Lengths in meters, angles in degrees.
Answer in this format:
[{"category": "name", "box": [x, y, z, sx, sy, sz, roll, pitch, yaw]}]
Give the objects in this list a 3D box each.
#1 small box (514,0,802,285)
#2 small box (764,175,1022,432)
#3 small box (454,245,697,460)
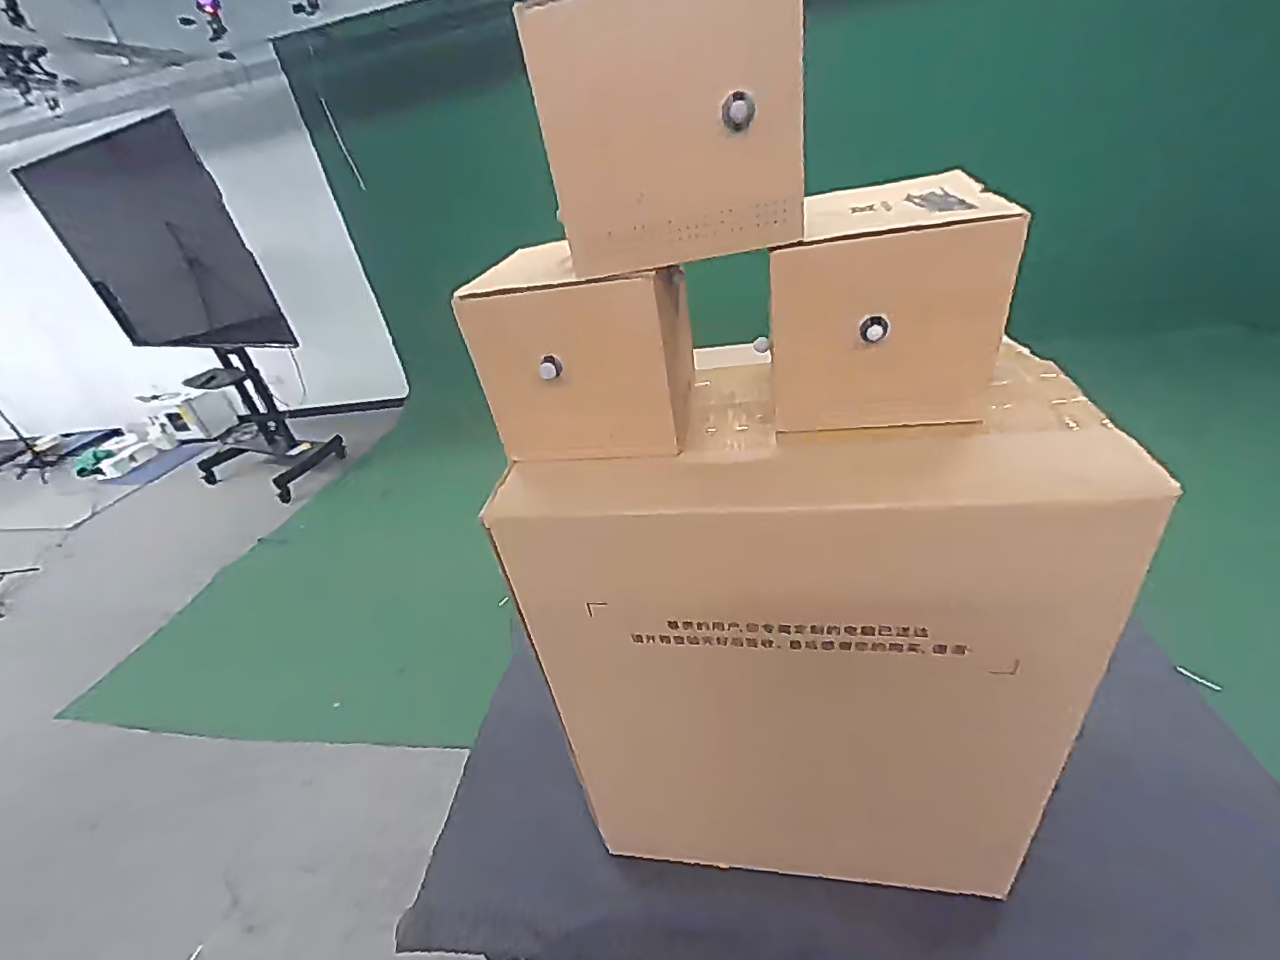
[{"category": "small box", "box": [0.023, -0.271, 0.429, 0.179, 0.176, 0.168, -9, 34, 6]}, {"category": "small box", "box": [0.207, -0.158, 0.497, 0.179, 0.176, 0.168, -3, 36, 15]}, {"category": "small box", "box": [-0.046, -0.131, 0.539, 0.179, 0.176, 0.168, -2, 37, 14]}]
